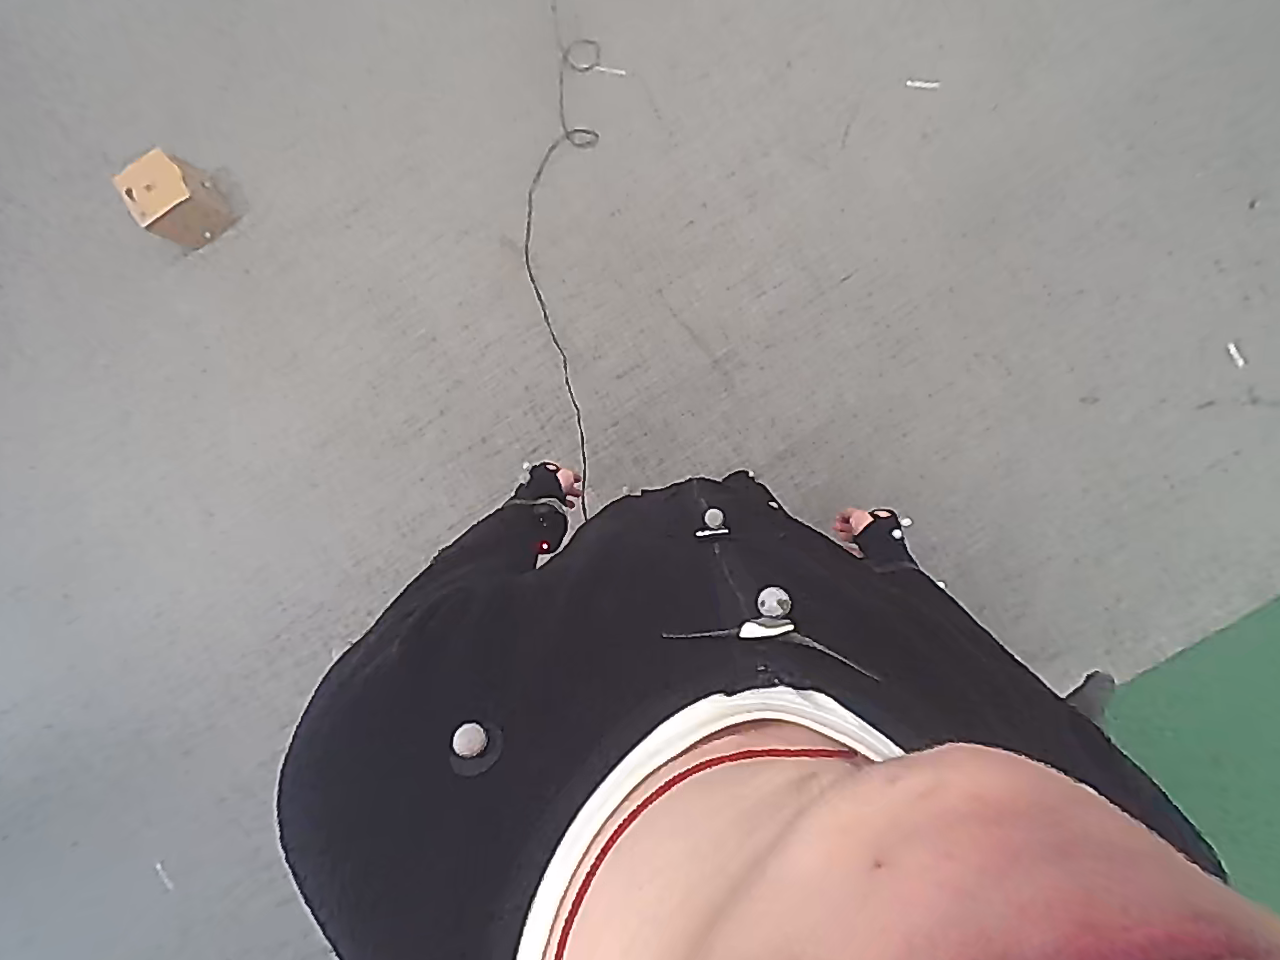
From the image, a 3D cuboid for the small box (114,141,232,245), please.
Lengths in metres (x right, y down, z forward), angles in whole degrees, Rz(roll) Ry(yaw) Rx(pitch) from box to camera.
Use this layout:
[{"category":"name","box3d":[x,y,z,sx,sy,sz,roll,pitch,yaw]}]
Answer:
[{"category":"small box","box3d":[-1.331,-0.819,1.560,0.179,0.176,0.168,-30,89,4]}]
